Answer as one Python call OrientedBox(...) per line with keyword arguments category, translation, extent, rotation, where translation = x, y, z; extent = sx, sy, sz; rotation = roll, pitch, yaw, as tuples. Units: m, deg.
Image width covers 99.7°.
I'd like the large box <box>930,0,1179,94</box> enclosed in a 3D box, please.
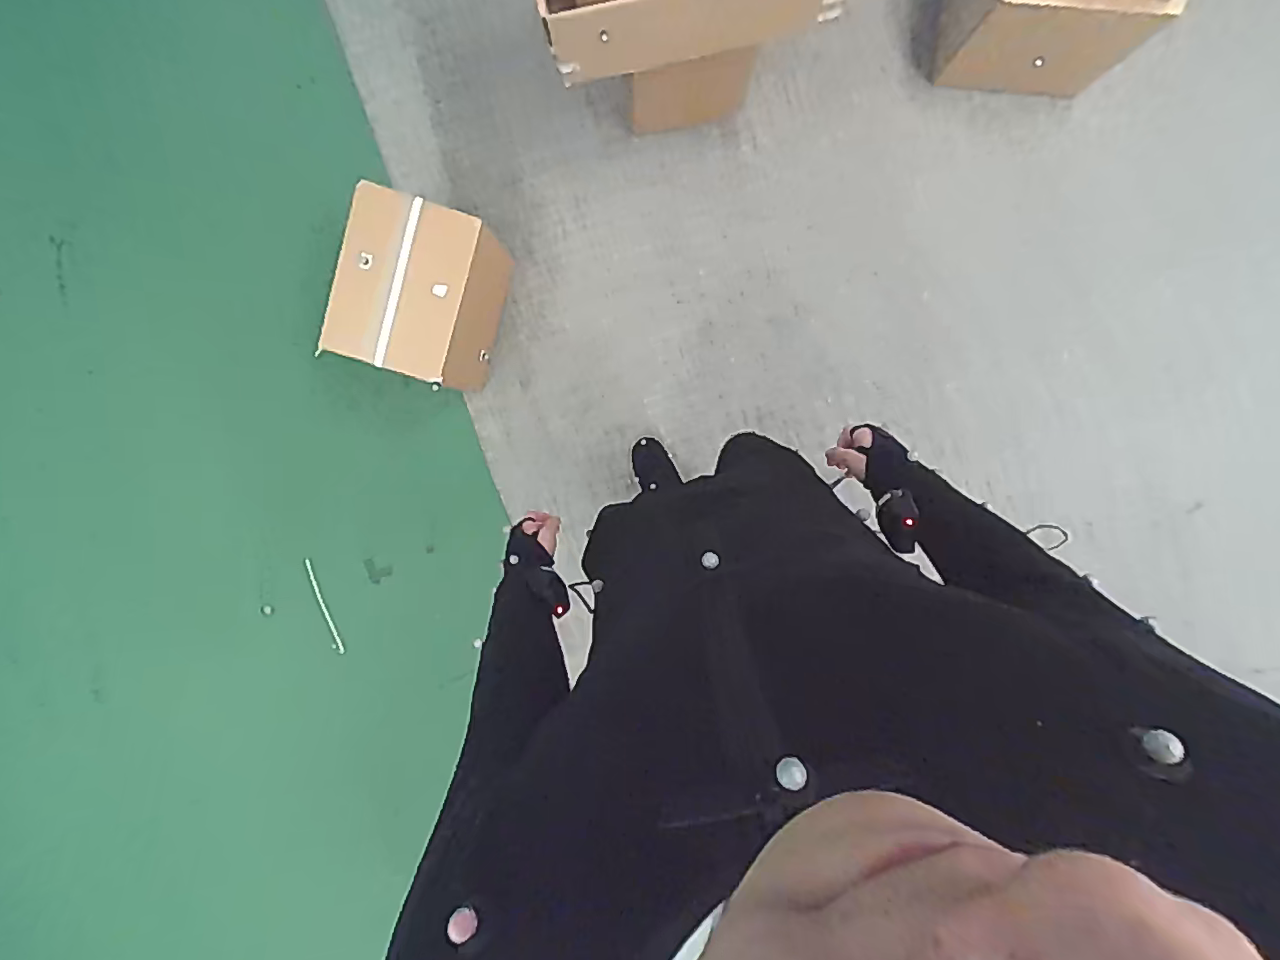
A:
OrientedBox(category="large box", translation=(1.007, -1.207, 1.329), extent=(0.408, 0.320, 0.320), rotation=(5, 95, 2))
